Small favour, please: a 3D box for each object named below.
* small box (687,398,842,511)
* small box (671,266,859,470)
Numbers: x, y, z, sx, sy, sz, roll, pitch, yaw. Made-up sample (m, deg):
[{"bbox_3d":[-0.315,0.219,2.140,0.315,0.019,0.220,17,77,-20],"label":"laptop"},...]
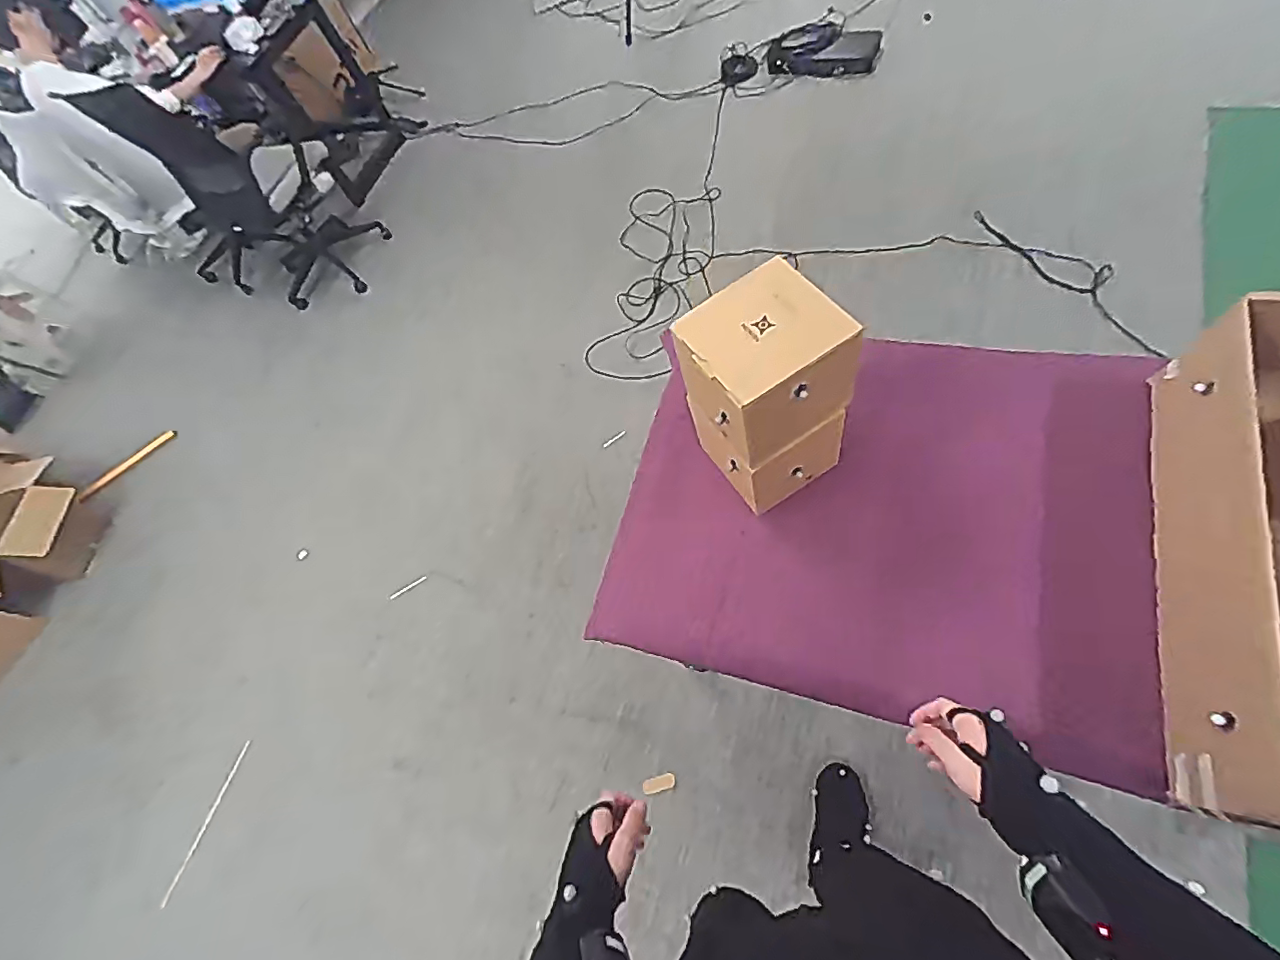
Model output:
[{"bbox_3d":[0.201,-0.069,0.879,0.168,0.176,0.179,-32,60,-3],"label":"small box"},{"bbox_3d":[0.168,-0.143,0.737,0.179,0.176,0.168,-32,61,-2],"label":"small box"}]
